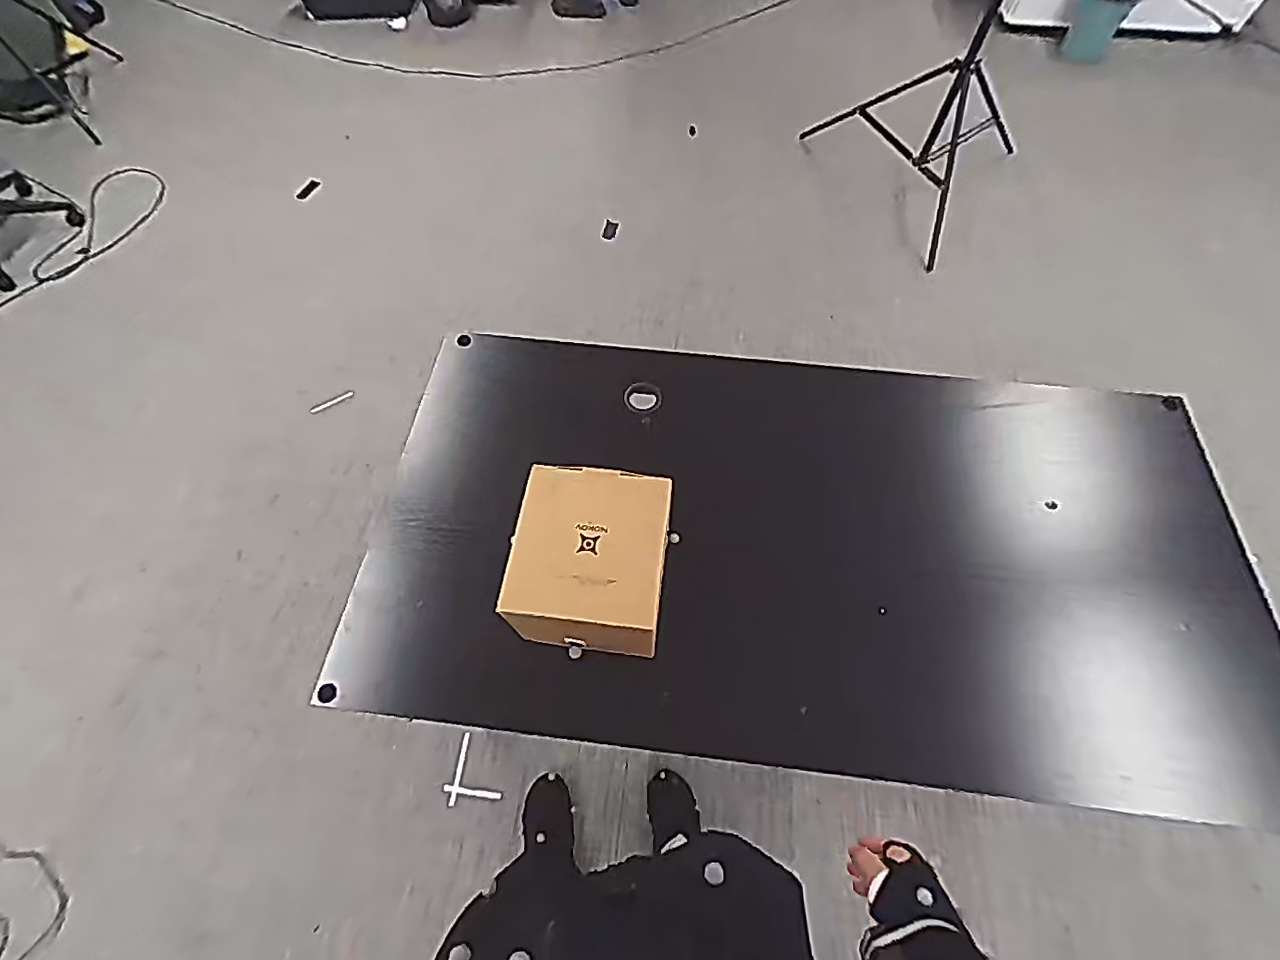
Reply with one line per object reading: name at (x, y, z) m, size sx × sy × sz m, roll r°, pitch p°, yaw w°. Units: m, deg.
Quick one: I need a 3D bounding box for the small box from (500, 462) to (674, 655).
small box at (-0.052, 0.100, 0.651) m, size 0.168 × 0.176 × 0.179 m, roll 5°, pitch 64°, yaw 4°
